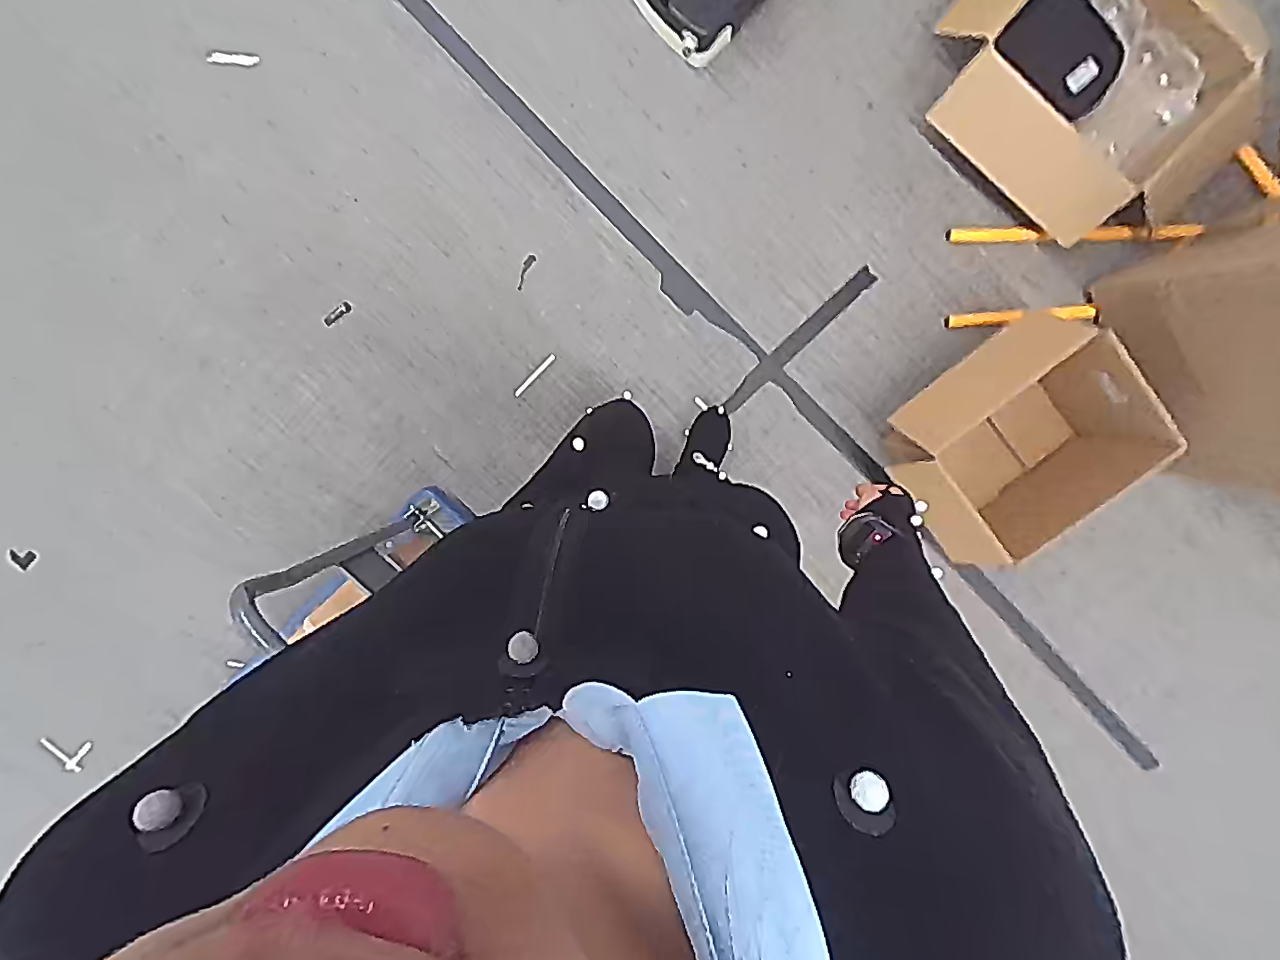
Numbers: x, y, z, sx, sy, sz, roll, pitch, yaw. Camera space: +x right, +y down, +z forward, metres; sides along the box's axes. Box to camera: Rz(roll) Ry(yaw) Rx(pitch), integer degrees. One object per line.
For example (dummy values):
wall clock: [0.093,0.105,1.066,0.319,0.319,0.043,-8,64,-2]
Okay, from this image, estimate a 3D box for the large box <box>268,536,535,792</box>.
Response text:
large box: [-0.519,0.403,1.258,0.320,0.320,0.408,-42,94,8]
